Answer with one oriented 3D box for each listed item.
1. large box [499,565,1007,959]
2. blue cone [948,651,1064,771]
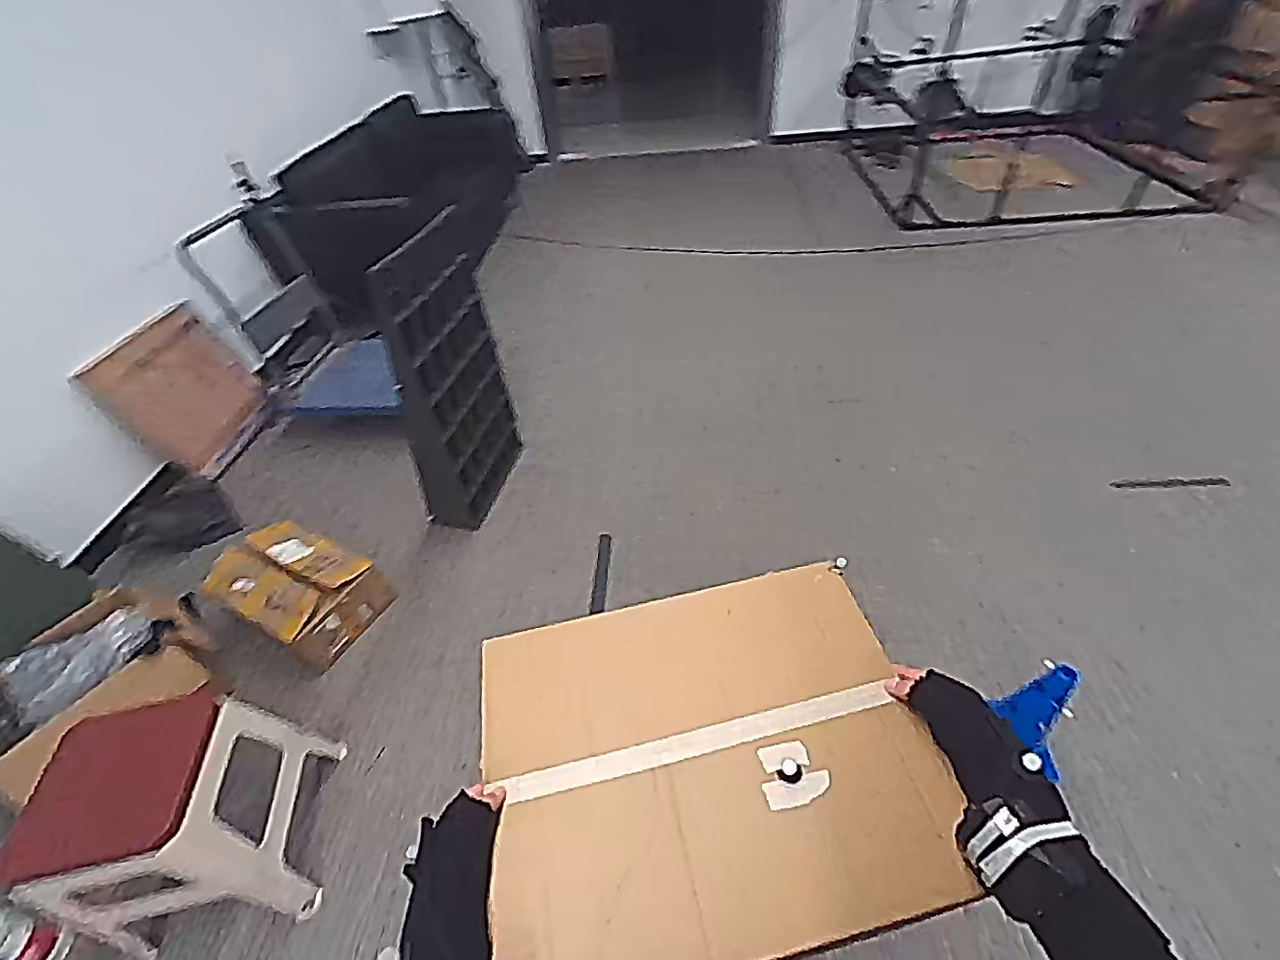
[{"bbox_3d":[0.078,0.347,0.614,0.408,0.320,0.320,-11,46,-5],"label":"large box"},{"bbox_3d":[0.897,0.521,1.269,0.193,0.380,0.192,1,43,7],"label":"blue cone"}]
